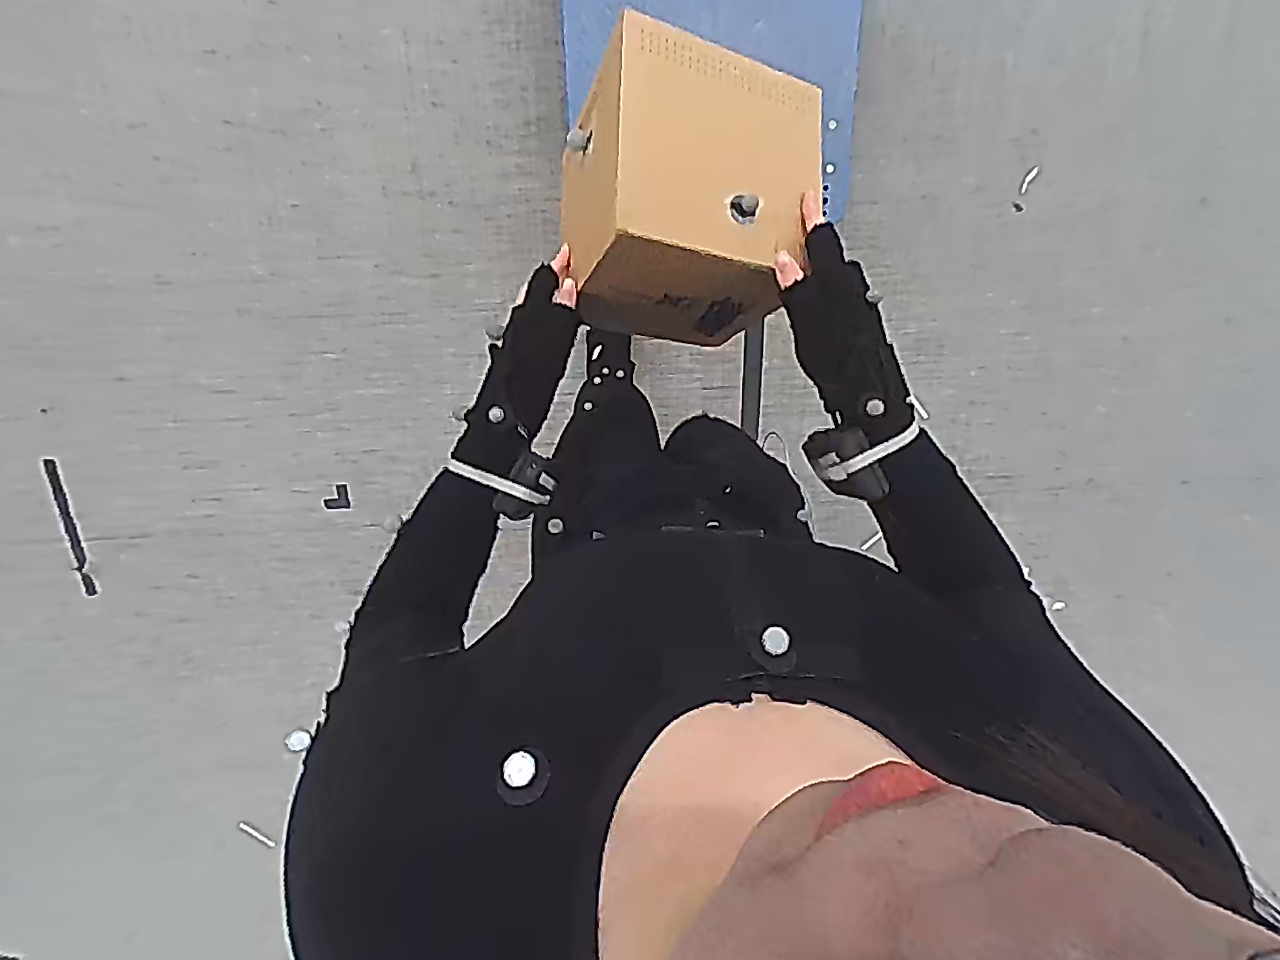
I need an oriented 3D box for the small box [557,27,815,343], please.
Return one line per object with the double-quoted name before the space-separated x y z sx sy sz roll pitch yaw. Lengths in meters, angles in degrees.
"small box" 0.034 -0.239 0.479 0.179 0.168 0.176 5 83 -22
